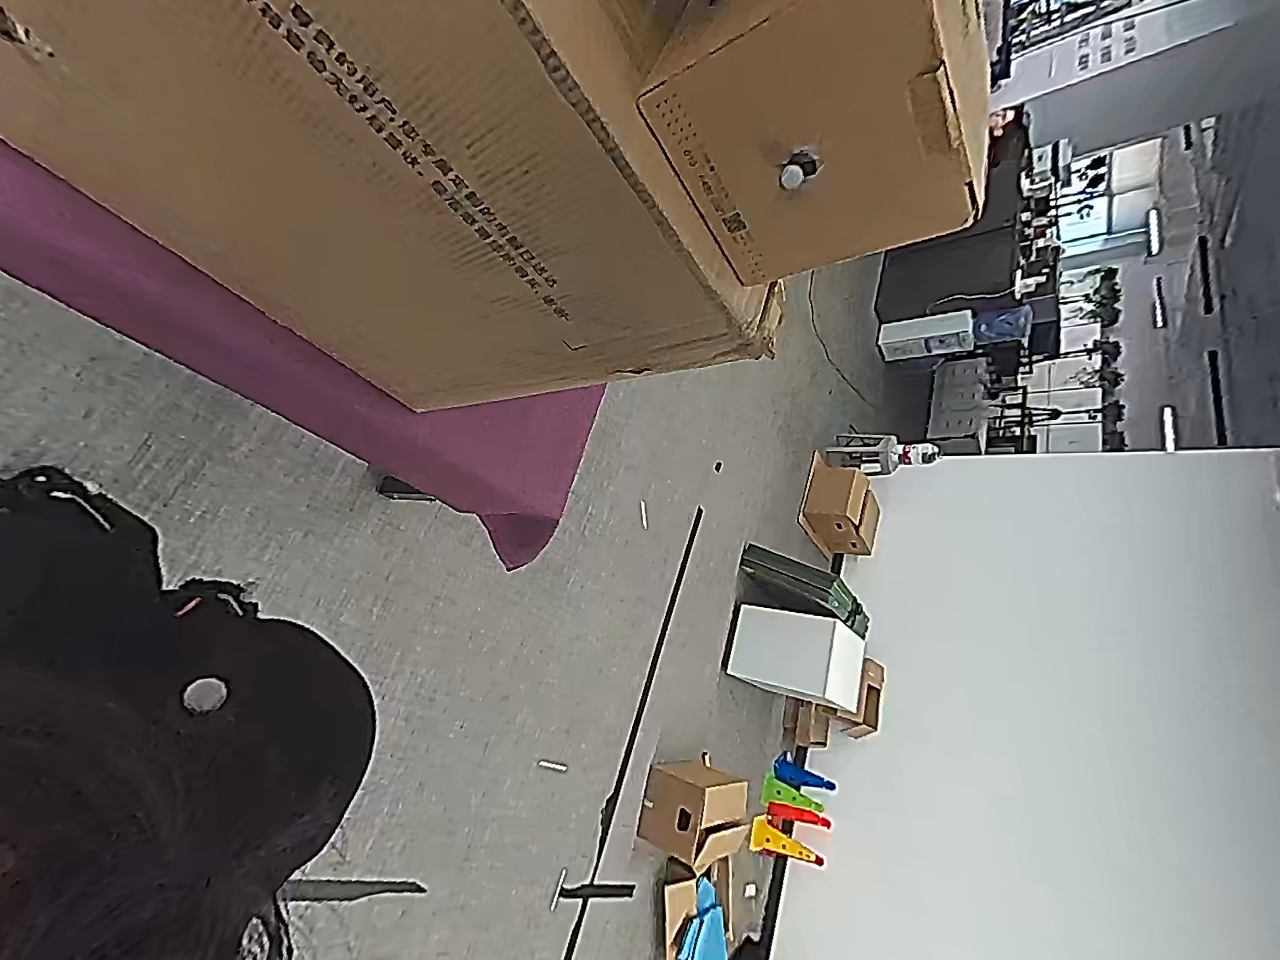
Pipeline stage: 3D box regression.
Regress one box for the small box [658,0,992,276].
[{"bbox_3d":[0.135,-0.277,0.383,0.168,0.176,0.179,43,58,-42],"label":"small box"}]
